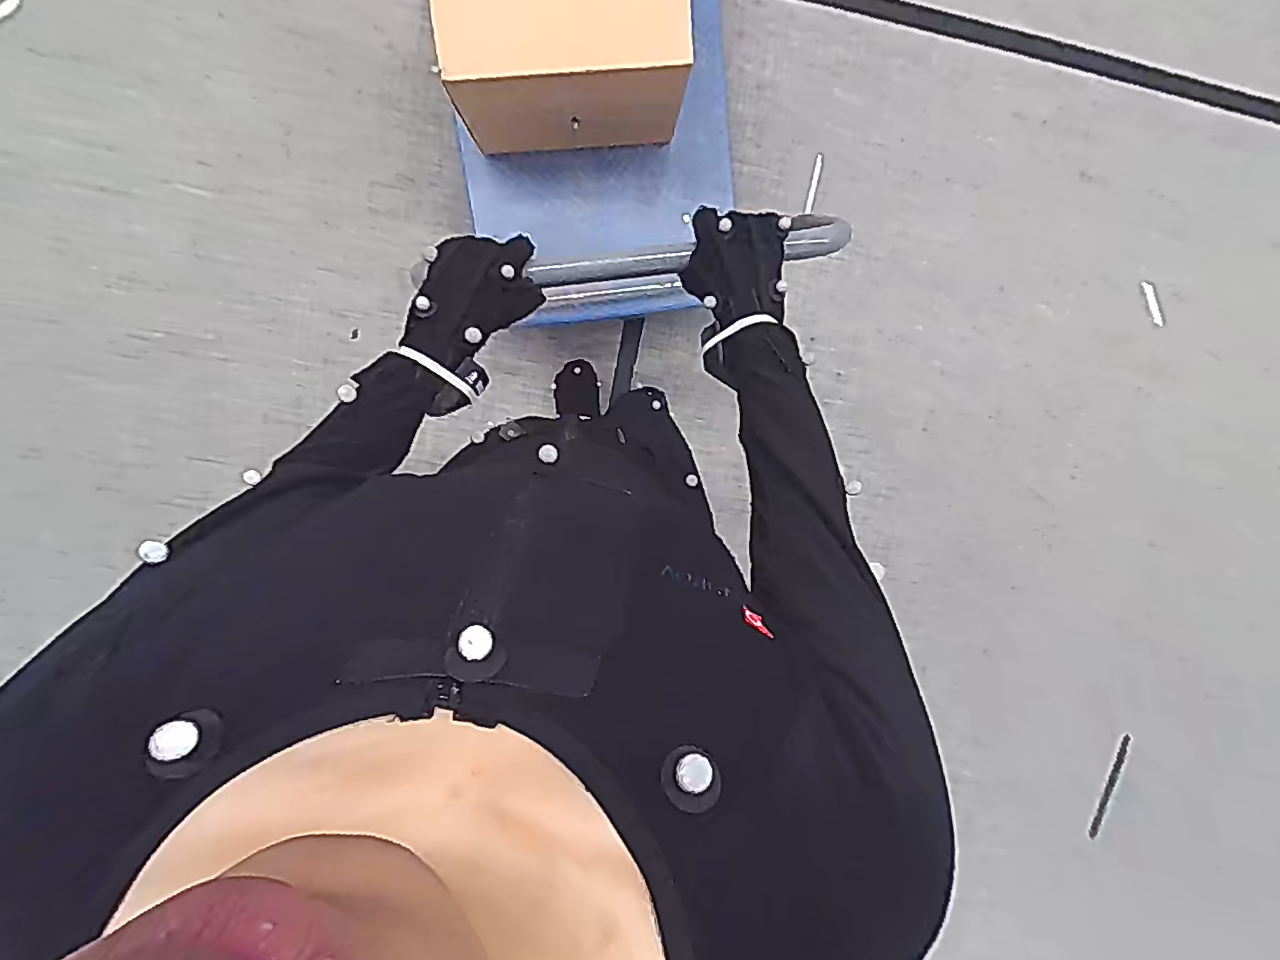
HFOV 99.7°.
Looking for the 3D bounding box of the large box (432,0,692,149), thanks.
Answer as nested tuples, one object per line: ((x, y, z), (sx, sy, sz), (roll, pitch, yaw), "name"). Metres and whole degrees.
((-0.134, -0.831, 0.973), (0.408, 0.320, 0.320), (-5, 102, -2), "large box")
